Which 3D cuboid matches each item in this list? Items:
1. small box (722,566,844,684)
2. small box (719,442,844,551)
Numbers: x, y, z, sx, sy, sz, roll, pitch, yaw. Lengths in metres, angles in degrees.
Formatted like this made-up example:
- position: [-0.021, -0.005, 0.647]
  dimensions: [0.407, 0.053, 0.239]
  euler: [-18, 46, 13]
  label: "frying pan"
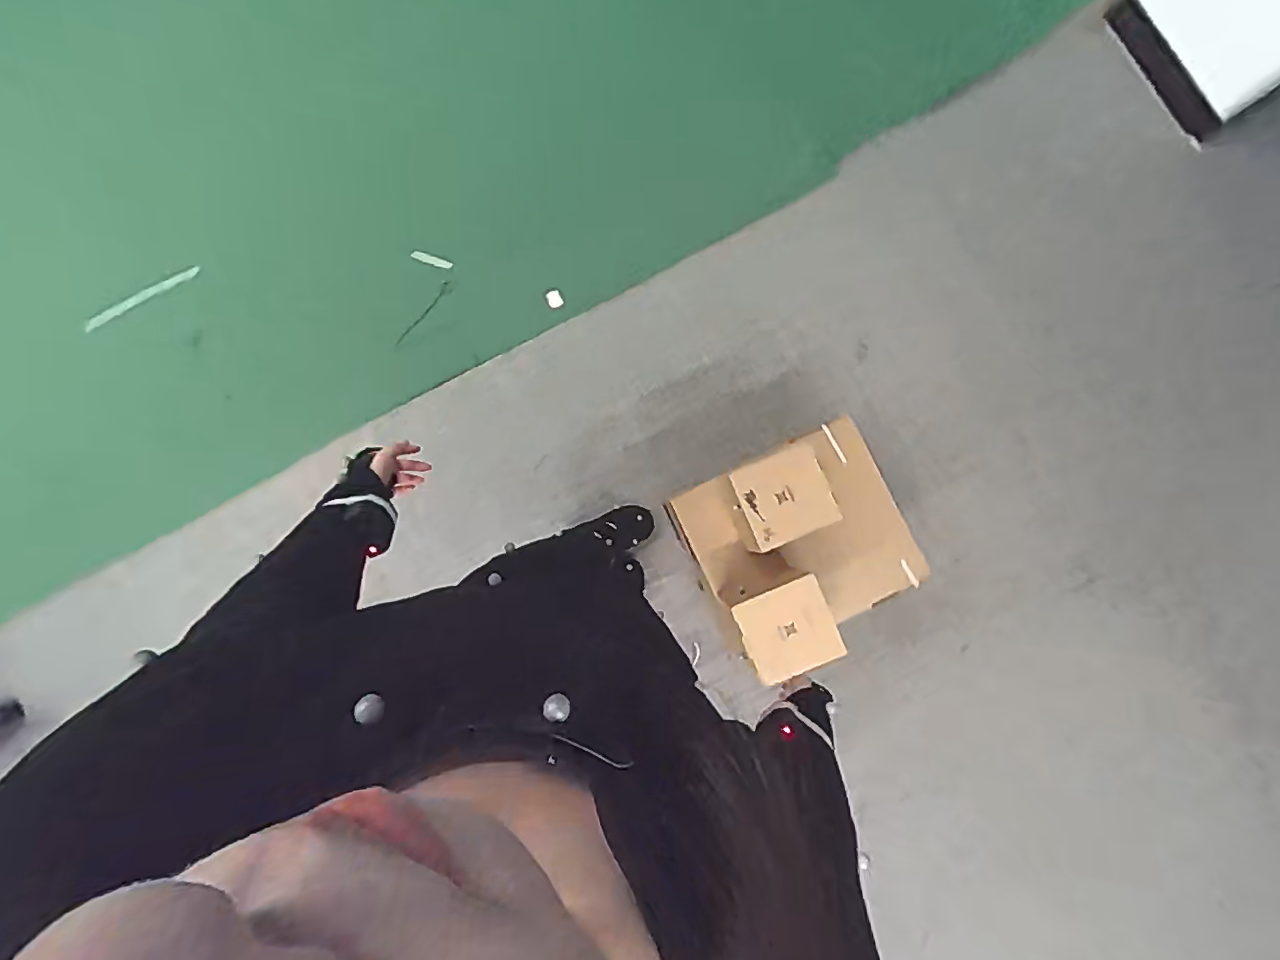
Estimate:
- position: [0.277, 0.284, 1.096]
  dimensions: [0.179, 0.176, 0.168]
  euler: [-21, 88, -2]
  label: "small box"
- position: [0.281, 0.036, 1.115]
  dimensions: [0.179, 0.176, 0.168]
  euler: [-21, 85, -3]
  label: "small box"
